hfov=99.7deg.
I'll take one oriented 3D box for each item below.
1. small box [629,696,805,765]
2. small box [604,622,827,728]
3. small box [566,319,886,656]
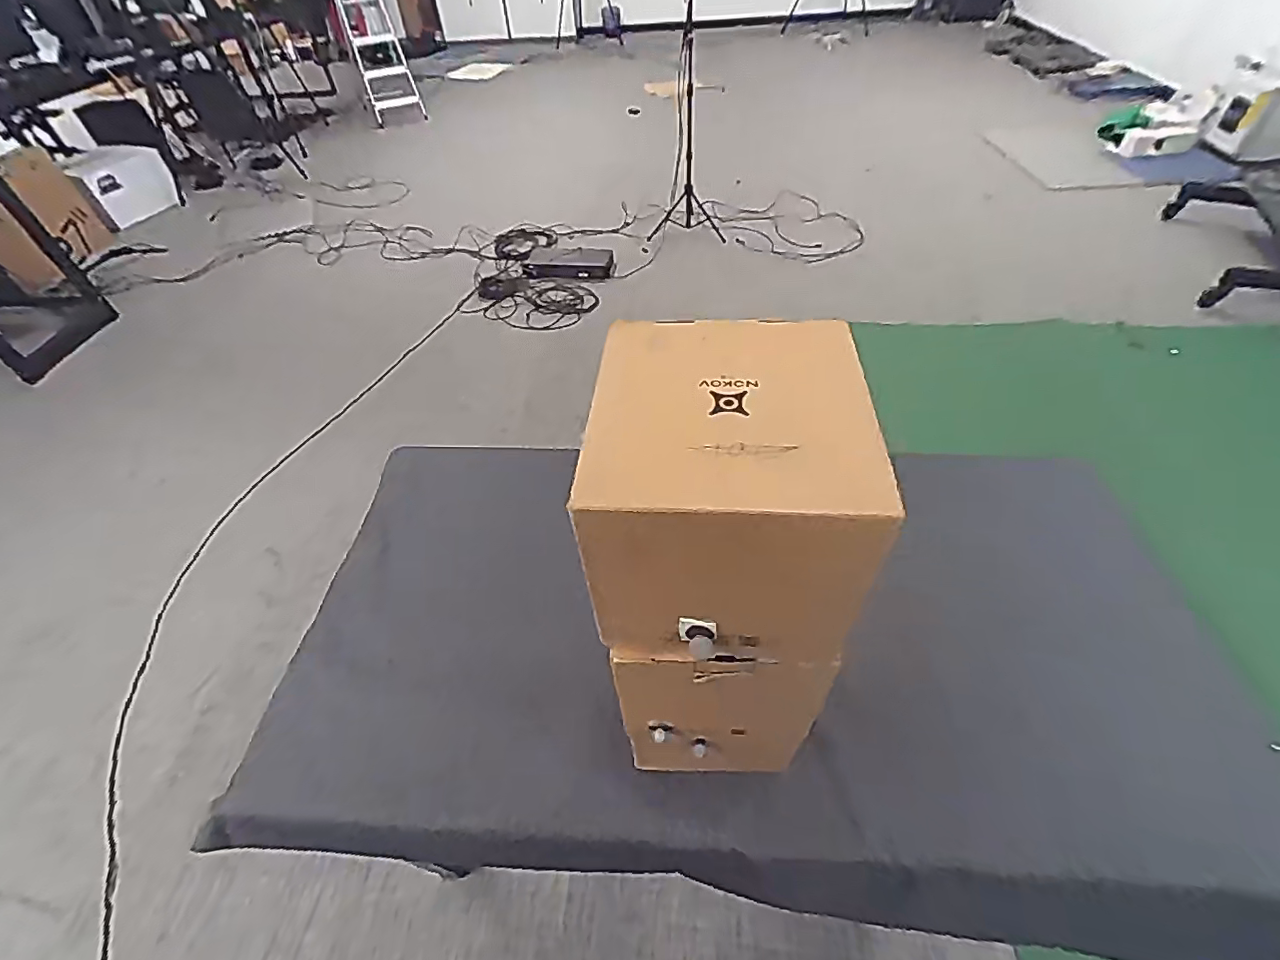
[{"bbox_3d":[0.078,0.221,0.635,0.179,0.176,0.168,-3,46,1],"label":"small box"},{"bbox_3d":[0.064,0.117,0.505,0.168,0.176,0.179,-1,46,4],"label":"small box"},{"bbox_3d":[0.053,0.004,0.389,0.168,0.176,0.179,0,48,6],"label":"small box"}]
